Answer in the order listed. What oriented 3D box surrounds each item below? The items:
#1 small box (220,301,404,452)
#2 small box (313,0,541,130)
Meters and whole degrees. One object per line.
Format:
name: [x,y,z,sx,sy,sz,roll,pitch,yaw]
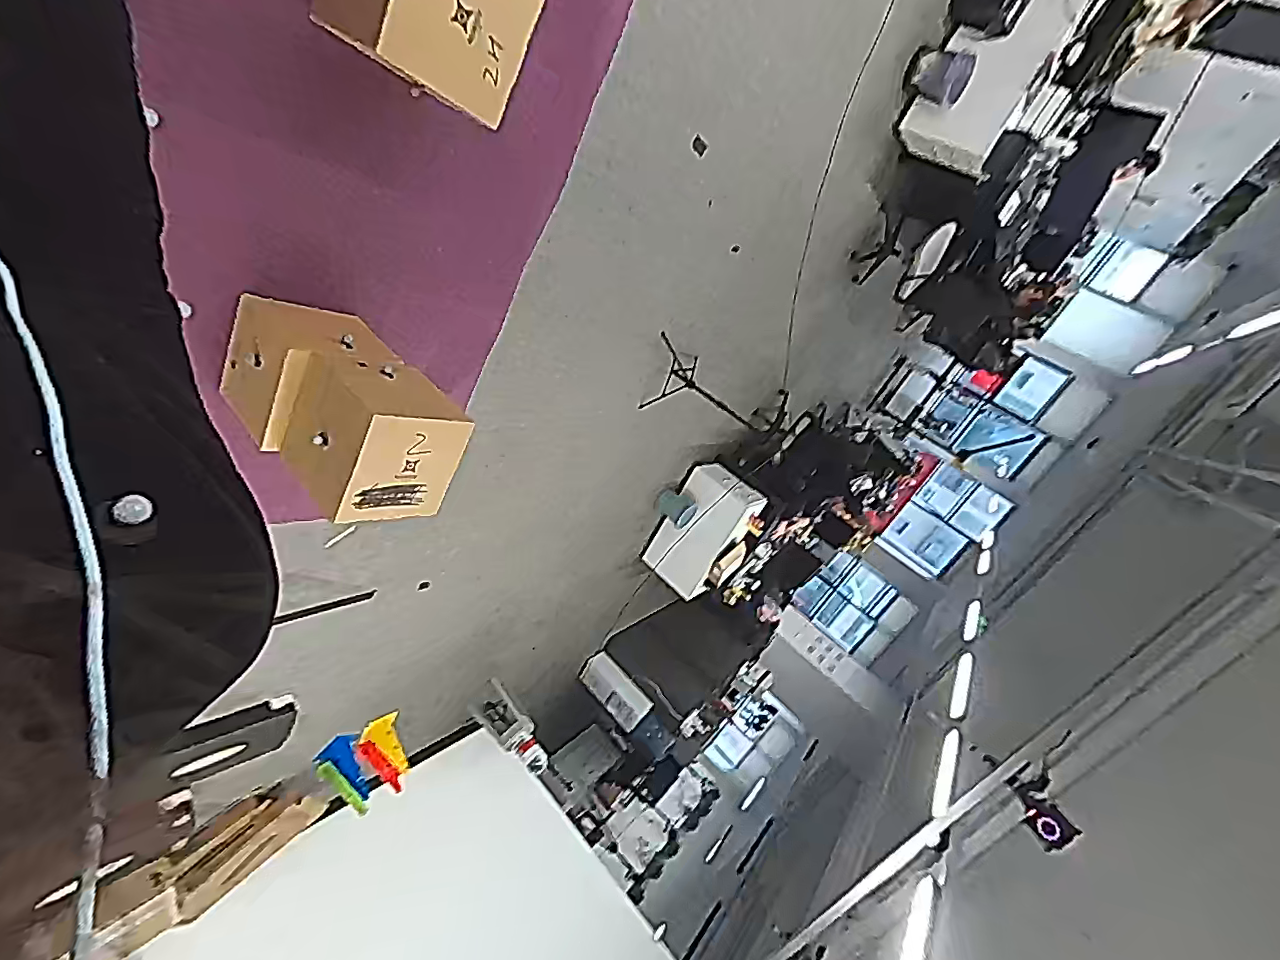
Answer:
small box: [-0.512,-0.158,0.842,0.179,0.176,0.168,-7,131,-58]
small box: [-0.263,-0.579,0.664,0.179,0.176,0.168,-5,131,-58]
